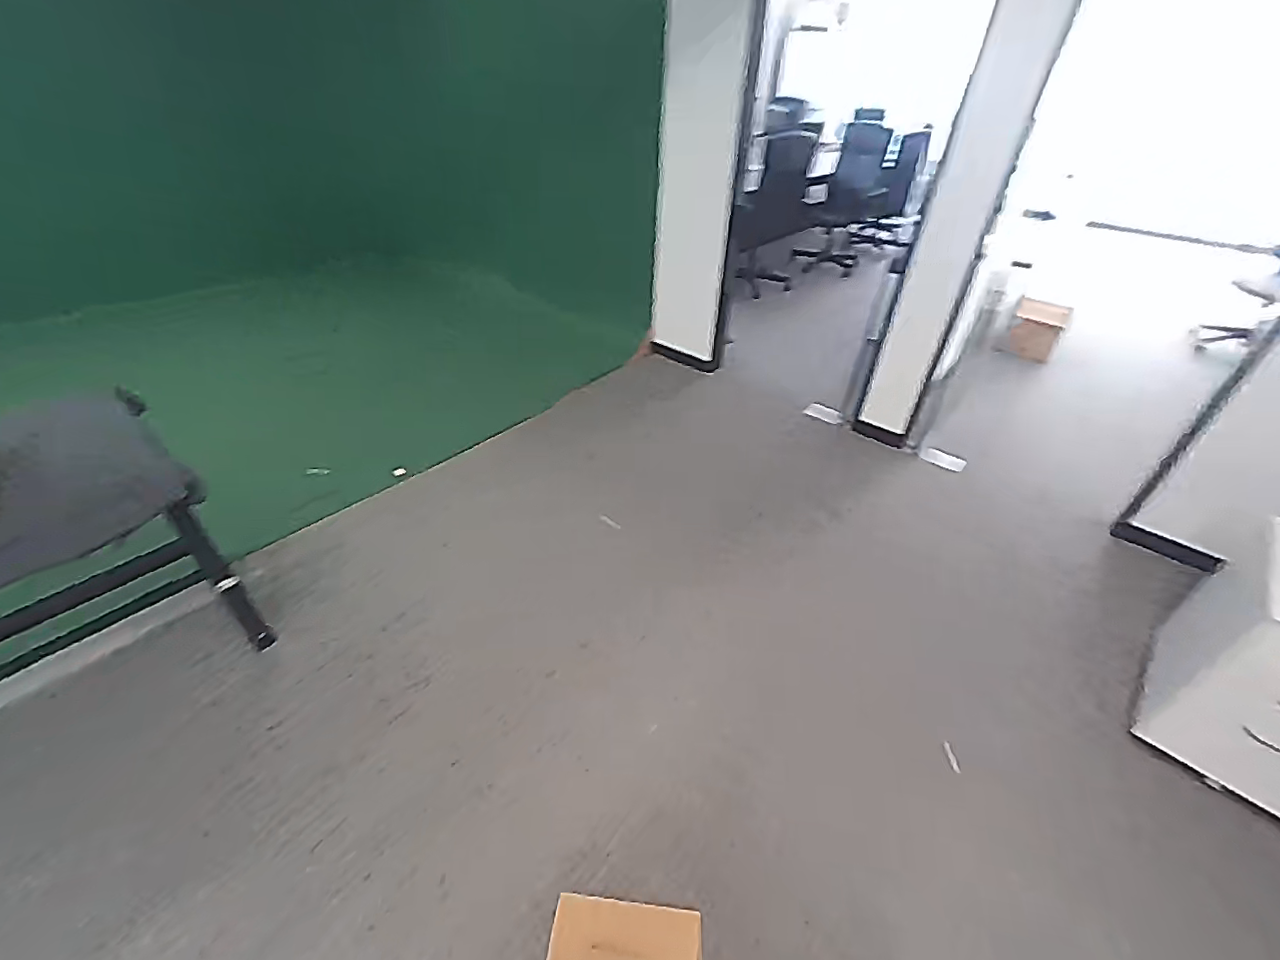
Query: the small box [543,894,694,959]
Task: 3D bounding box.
[{"bbox_3d":[-0.025,0.604,0.600,0.168,0.176,0.179,2,35,7],"label":"small box"}]
